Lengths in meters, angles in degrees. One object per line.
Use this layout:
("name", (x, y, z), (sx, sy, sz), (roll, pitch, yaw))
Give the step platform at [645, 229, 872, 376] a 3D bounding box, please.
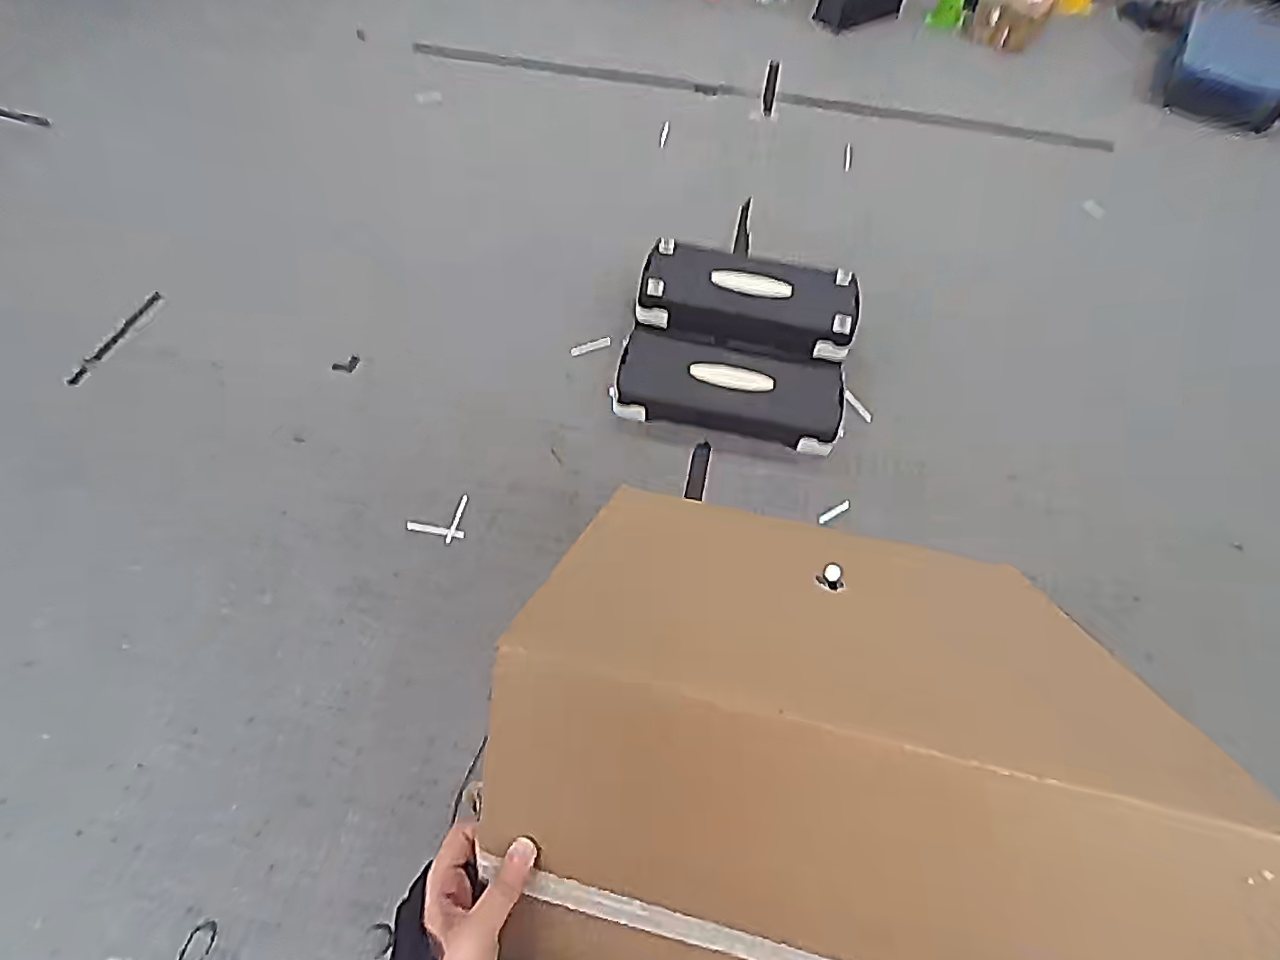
("step platform", (0.366, -0.567, 1.711), (0.684, 0.204, 0.286), (17, 62, 6))
